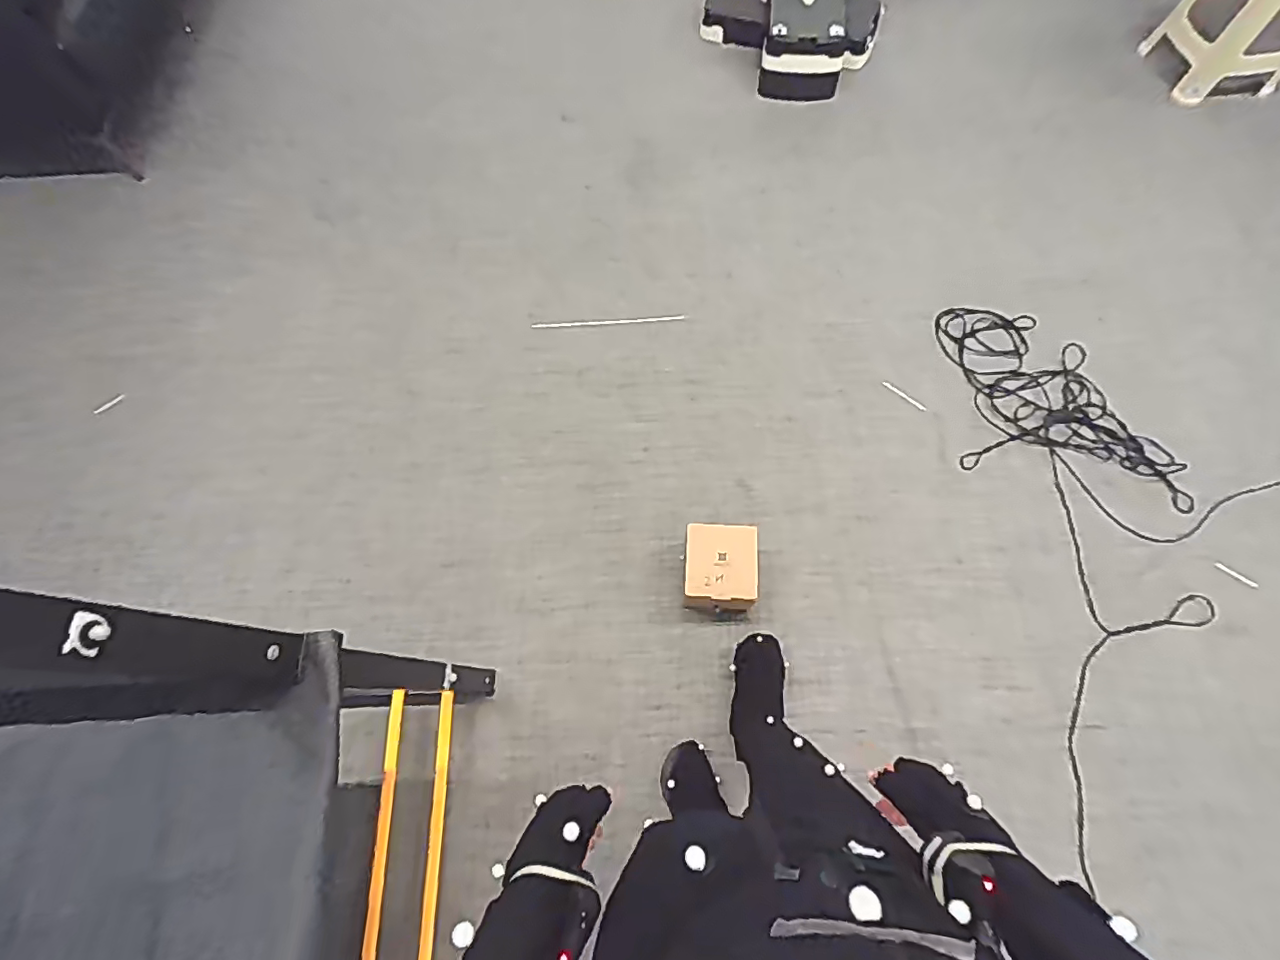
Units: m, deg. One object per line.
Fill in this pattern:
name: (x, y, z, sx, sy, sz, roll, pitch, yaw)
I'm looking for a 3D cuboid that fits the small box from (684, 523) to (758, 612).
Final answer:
small box: (0.195, 0.218, 1.328, 0.168, 0.176, 0.179, 3, 69, 5)
